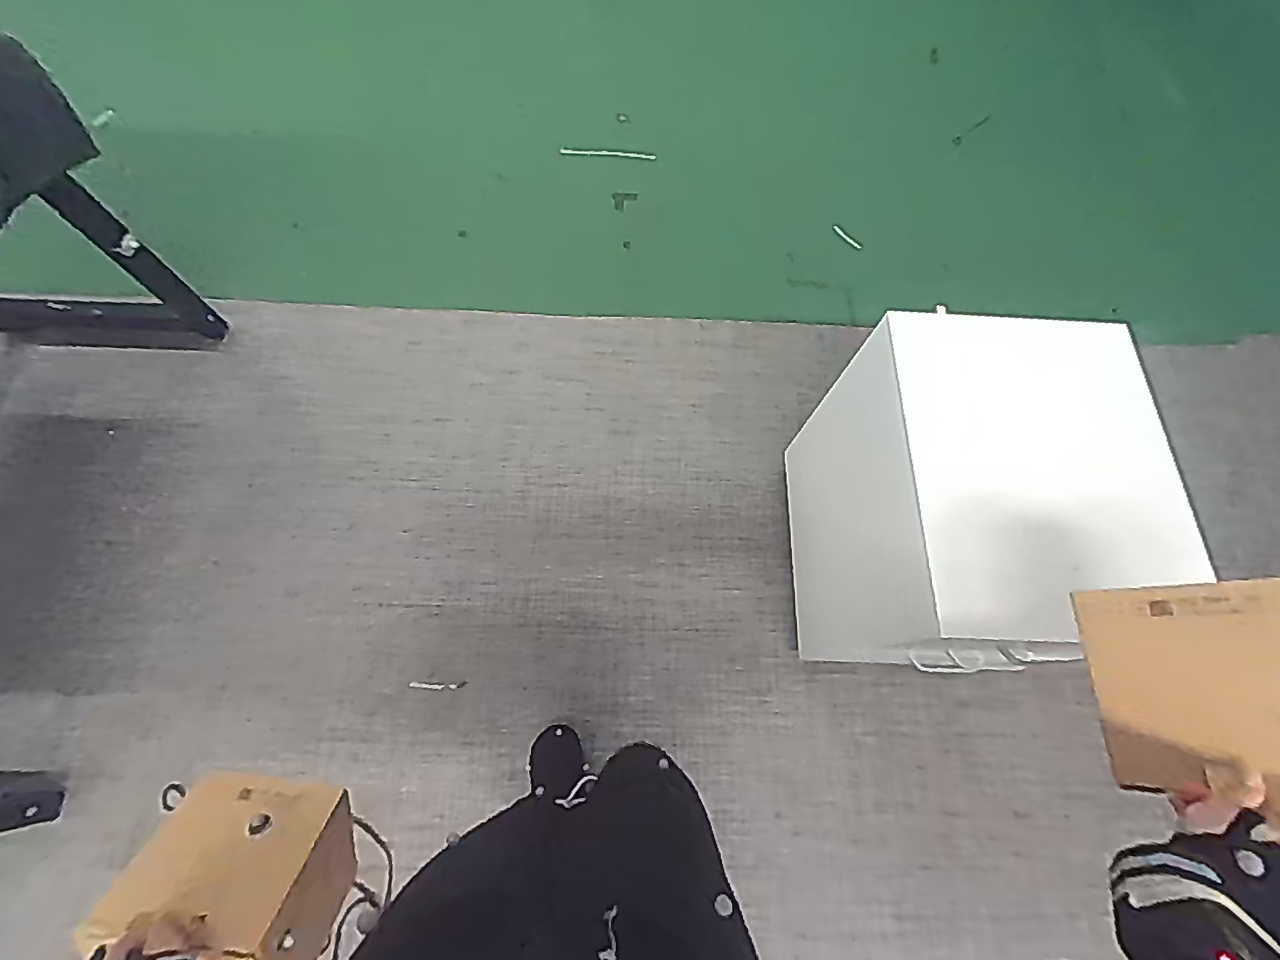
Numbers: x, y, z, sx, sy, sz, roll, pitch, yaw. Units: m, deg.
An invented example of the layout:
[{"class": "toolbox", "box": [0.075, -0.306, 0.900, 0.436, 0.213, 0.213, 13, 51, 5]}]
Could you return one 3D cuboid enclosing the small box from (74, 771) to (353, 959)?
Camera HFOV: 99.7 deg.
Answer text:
[{"class": "small box", "box": [-0.442, 0.464, 0.600, 0.168, 0.179, 0.176, 9, 24, -1]}]
